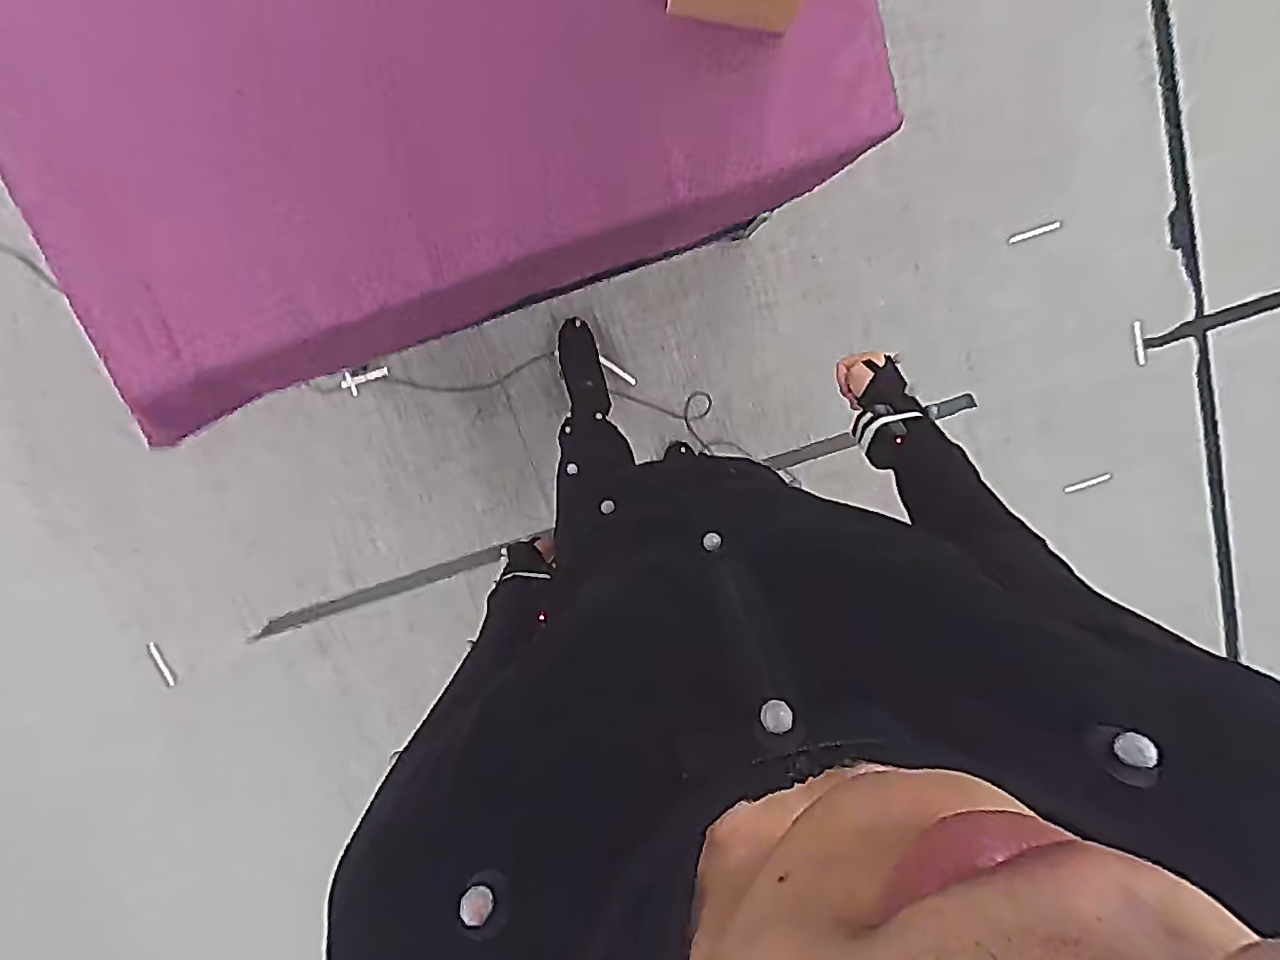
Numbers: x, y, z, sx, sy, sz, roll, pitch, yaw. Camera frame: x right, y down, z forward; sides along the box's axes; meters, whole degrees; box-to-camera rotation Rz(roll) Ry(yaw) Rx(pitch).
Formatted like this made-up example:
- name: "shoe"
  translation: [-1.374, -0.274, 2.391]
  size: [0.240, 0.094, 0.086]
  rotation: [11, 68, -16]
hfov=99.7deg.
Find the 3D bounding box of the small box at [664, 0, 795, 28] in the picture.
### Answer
- name: "small box"
  translation: [0.131, -0.699, 0.657]
  size: [0.179, 0.176, 0.168]
  rotation: [6, 101, -5]
